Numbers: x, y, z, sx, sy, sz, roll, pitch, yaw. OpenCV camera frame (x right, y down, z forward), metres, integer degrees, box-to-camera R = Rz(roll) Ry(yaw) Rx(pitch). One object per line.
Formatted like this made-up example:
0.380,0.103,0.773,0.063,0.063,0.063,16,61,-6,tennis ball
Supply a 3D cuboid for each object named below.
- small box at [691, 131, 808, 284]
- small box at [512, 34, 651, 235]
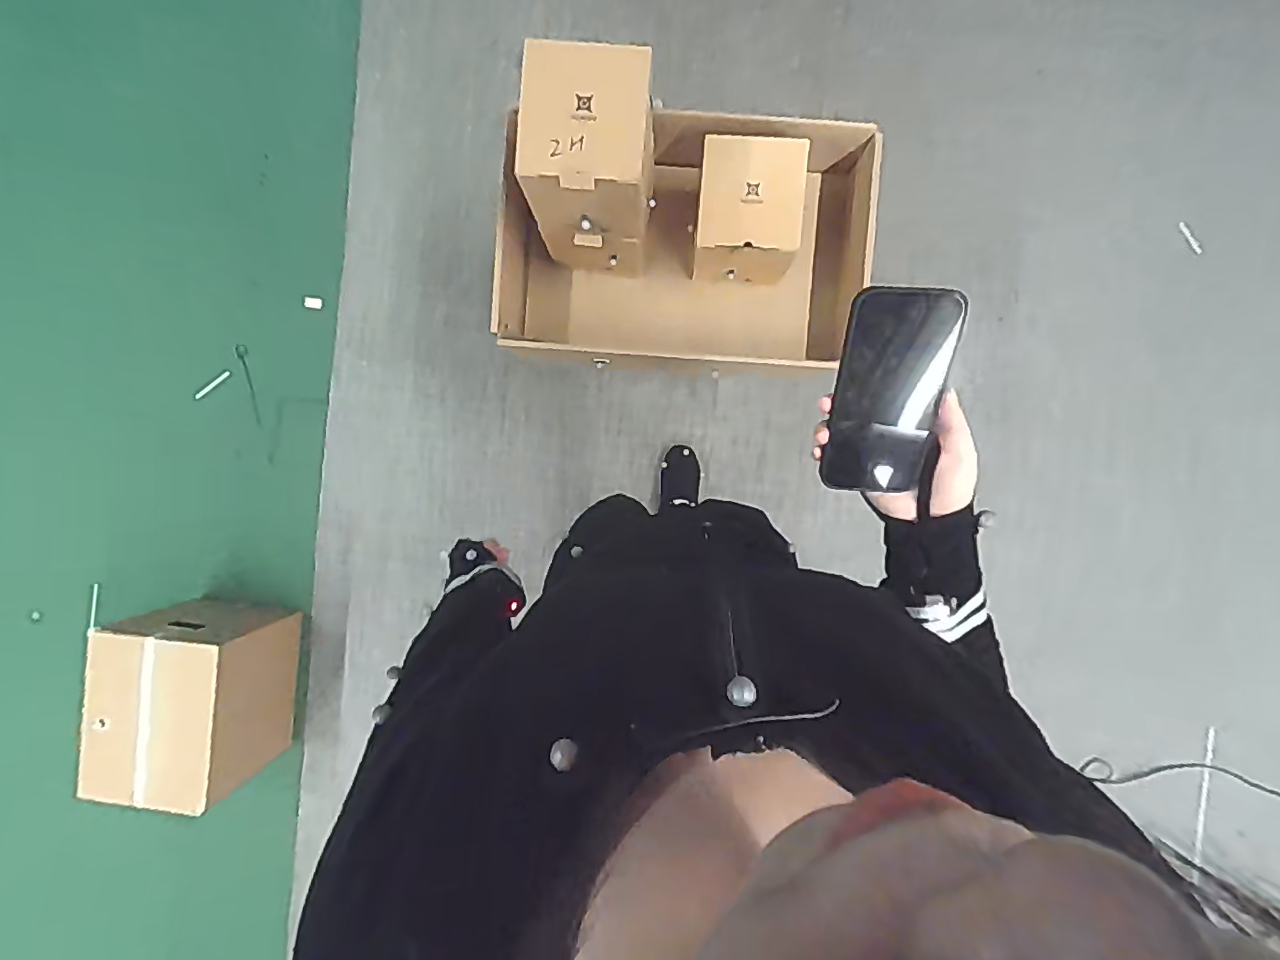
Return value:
0.178,-0.456,0.926,0.168,0.176,0.179,5,93,3,small box
-0.074,-0.477,0.770,0.168,0.176,0.179,5,92,2,small box
